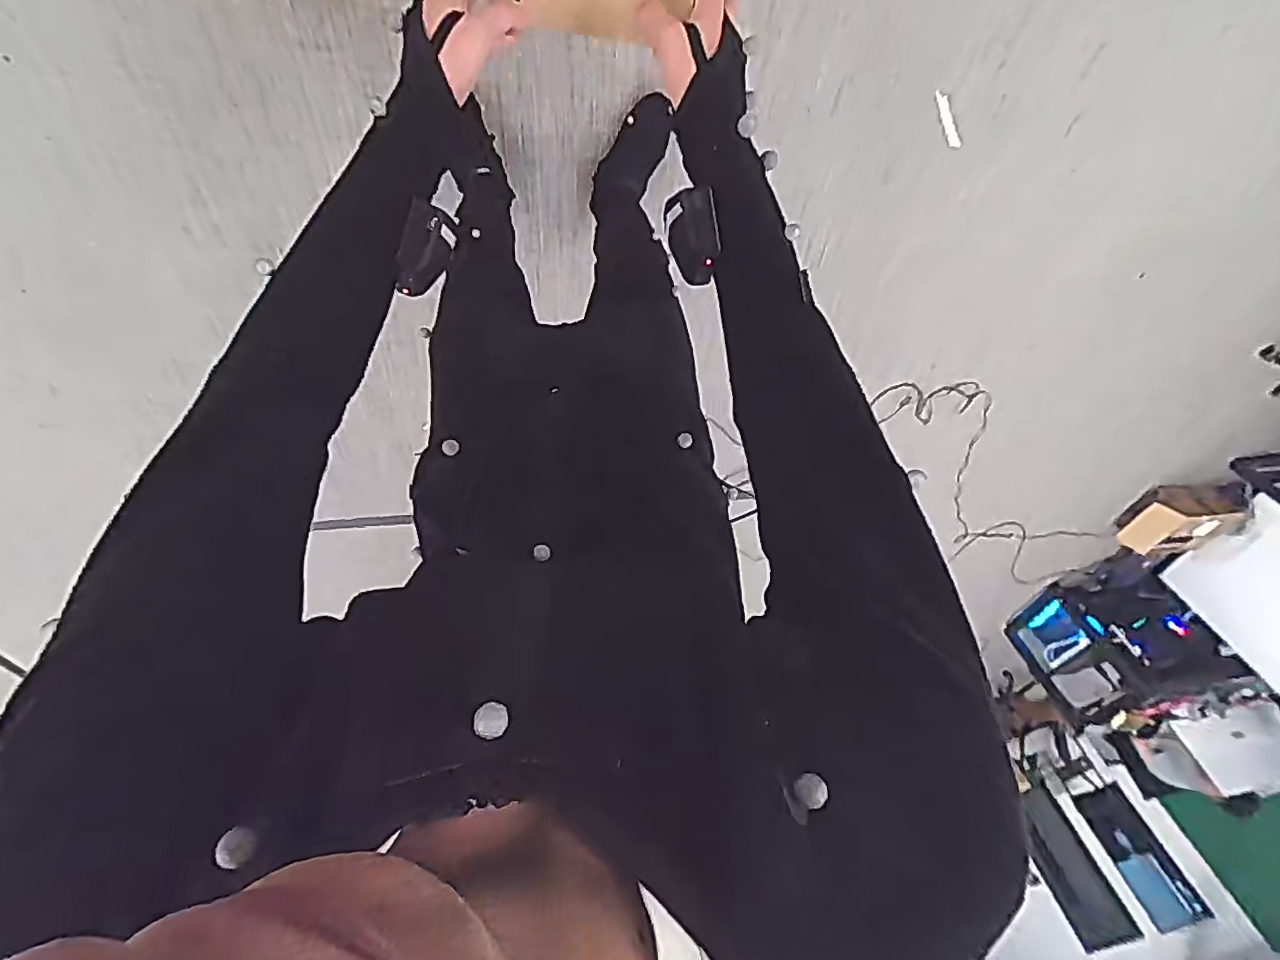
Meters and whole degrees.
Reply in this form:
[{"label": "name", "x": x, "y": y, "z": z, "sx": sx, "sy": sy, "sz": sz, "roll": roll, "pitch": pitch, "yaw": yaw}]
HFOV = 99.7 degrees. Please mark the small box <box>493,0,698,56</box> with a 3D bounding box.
[{"label": "small box", "x": -0.039, "y": -0.503, "z": 0.469, "sx": 0.179, "sy": 0.176, "sz": 0.168, "roll": -1, "pitch": 140, "yaw": -12}]
